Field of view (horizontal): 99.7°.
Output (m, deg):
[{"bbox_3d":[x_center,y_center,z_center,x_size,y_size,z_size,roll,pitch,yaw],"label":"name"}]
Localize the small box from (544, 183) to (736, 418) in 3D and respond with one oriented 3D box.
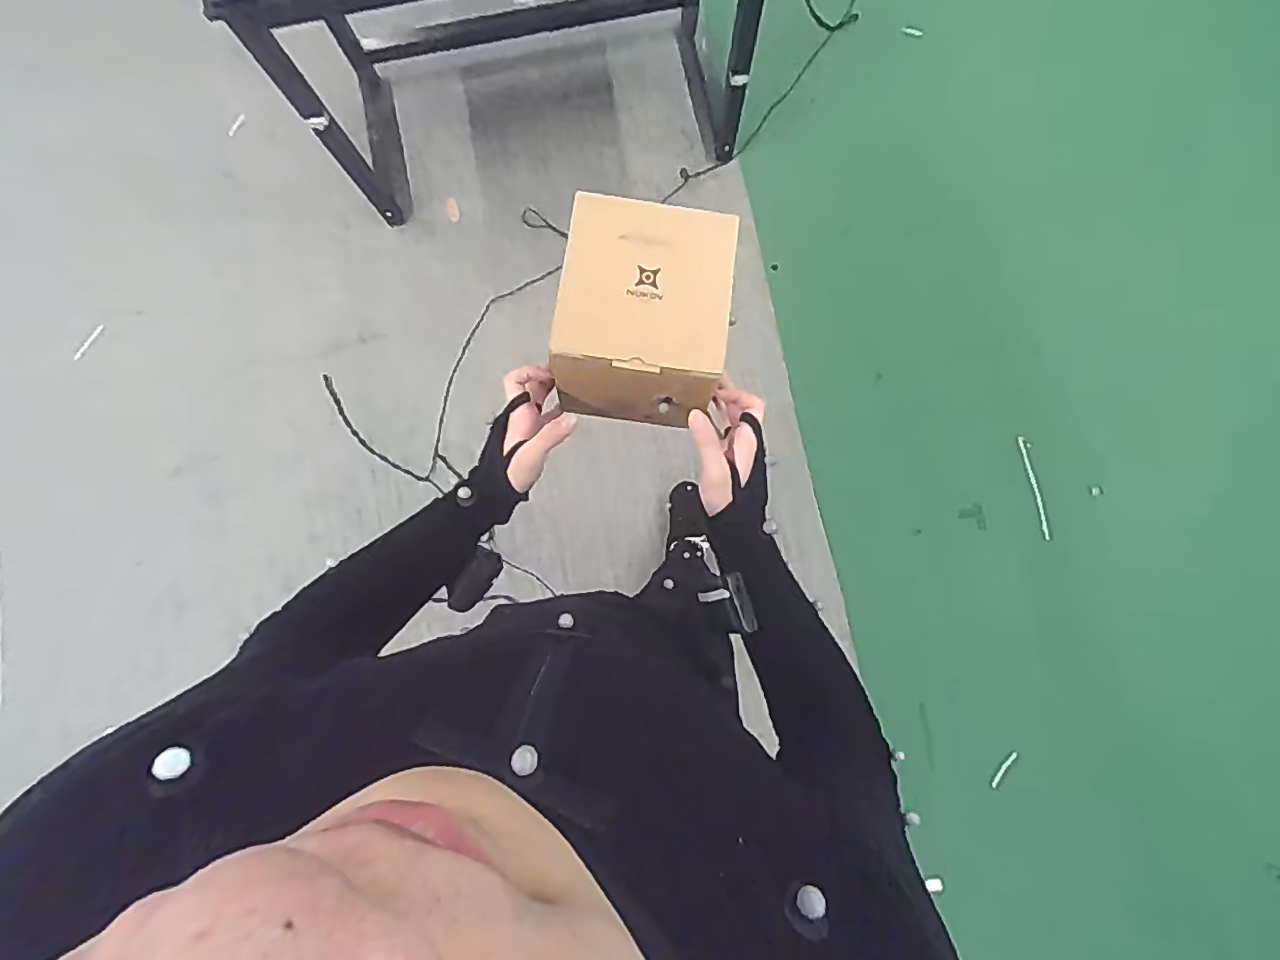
[{"bbox_3d":[-0.001,-0.181,0.594,0.168,0.176,0.179,9,78,-2],"label":"small box"}]
